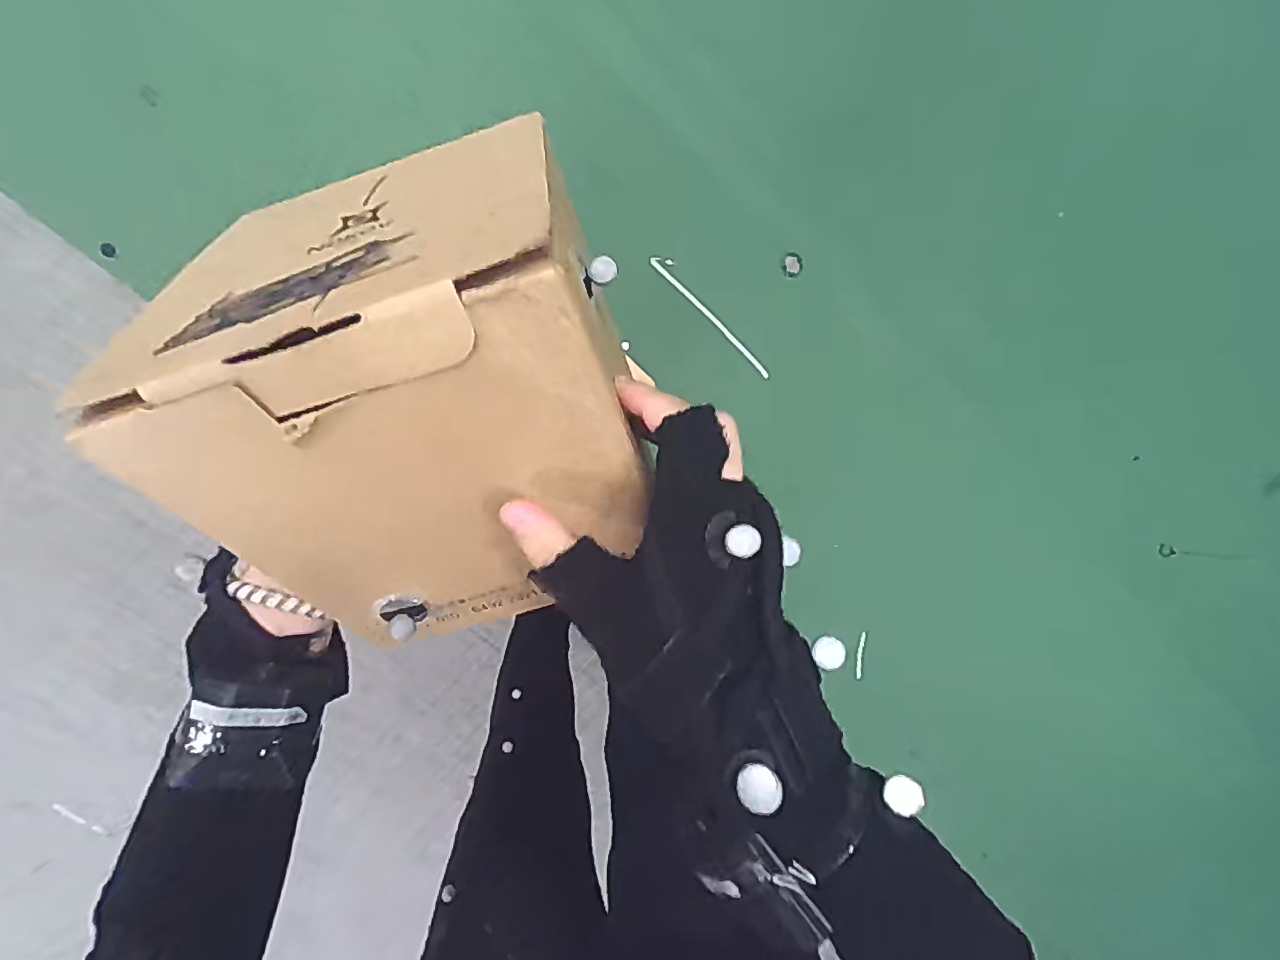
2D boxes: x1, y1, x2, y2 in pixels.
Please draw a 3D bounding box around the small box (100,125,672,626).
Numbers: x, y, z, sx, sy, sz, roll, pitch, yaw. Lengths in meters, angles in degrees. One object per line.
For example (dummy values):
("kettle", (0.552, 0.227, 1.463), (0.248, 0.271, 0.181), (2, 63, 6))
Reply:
("small box", (-0.089, -0.043, 0.281), (0.168, 0.179, 0.176), (-16, 136, 4))
